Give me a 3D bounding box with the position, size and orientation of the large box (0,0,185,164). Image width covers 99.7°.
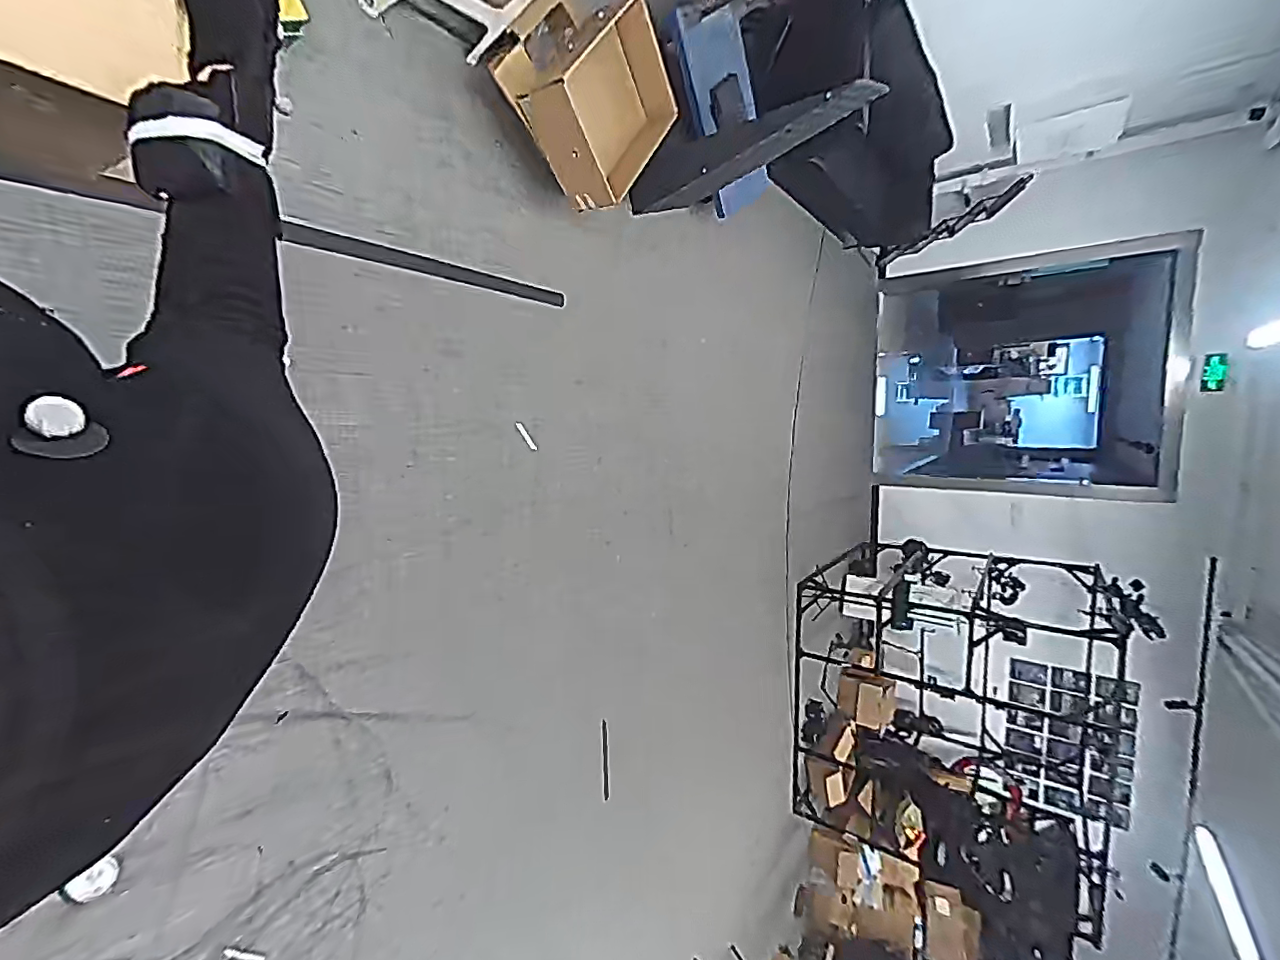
[{"bbox_3d":[-0.561,-0.438,0.304,0.408,0.320,0.320,-5,106,-55],"label":"large box"}]
